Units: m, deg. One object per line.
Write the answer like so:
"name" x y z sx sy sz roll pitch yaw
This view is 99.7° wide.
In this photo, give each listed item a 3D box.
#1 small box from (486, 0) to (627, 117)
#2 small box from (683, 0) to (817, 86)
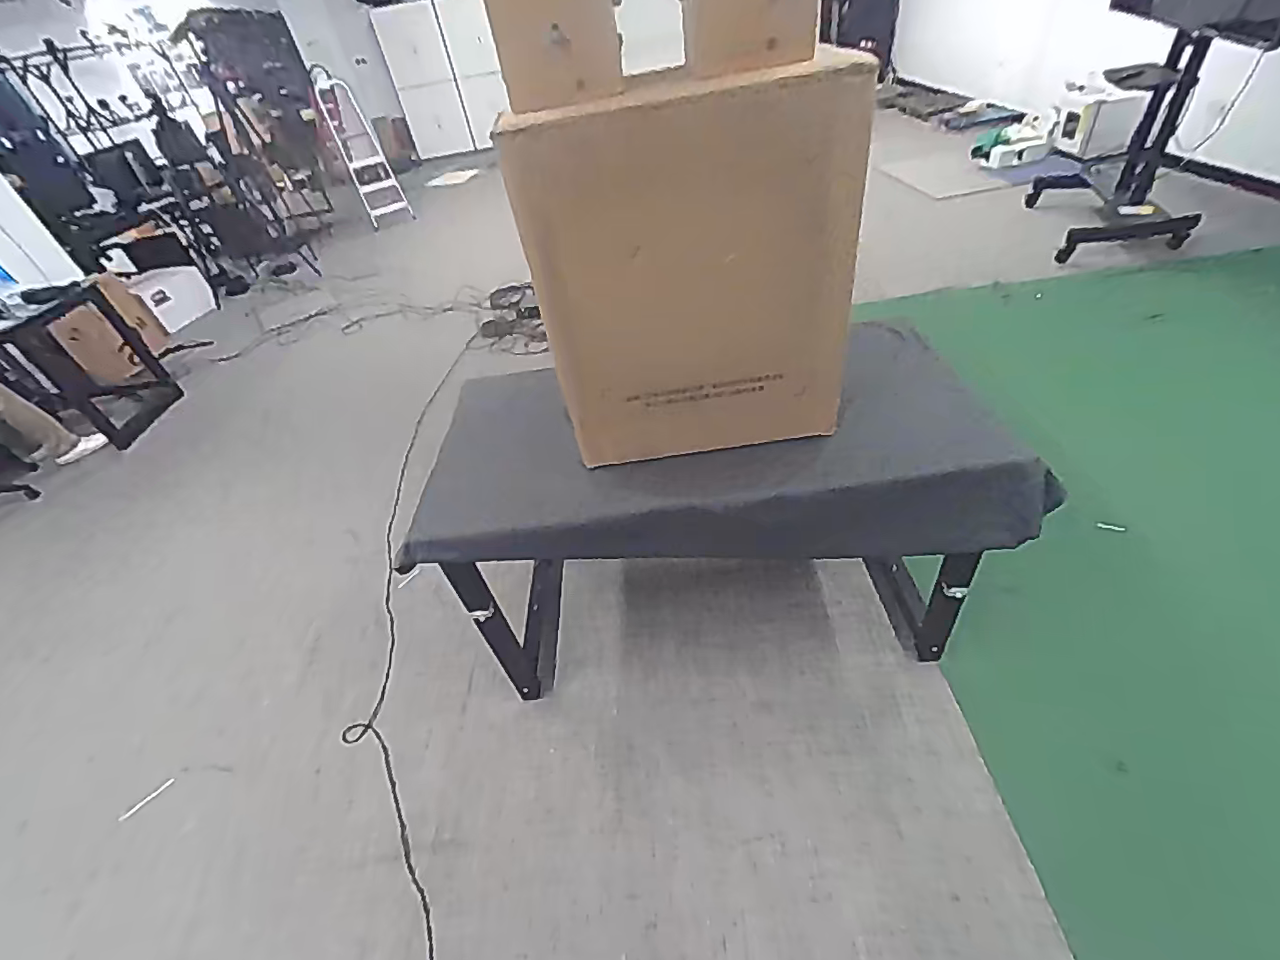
"small box" -0.112 -0.645 0.783 0.168 0.176 0.179 -7 44 4
"small box" 0.150 -0.675 0.766 0.168 0.176 0.179 -6 42 2
